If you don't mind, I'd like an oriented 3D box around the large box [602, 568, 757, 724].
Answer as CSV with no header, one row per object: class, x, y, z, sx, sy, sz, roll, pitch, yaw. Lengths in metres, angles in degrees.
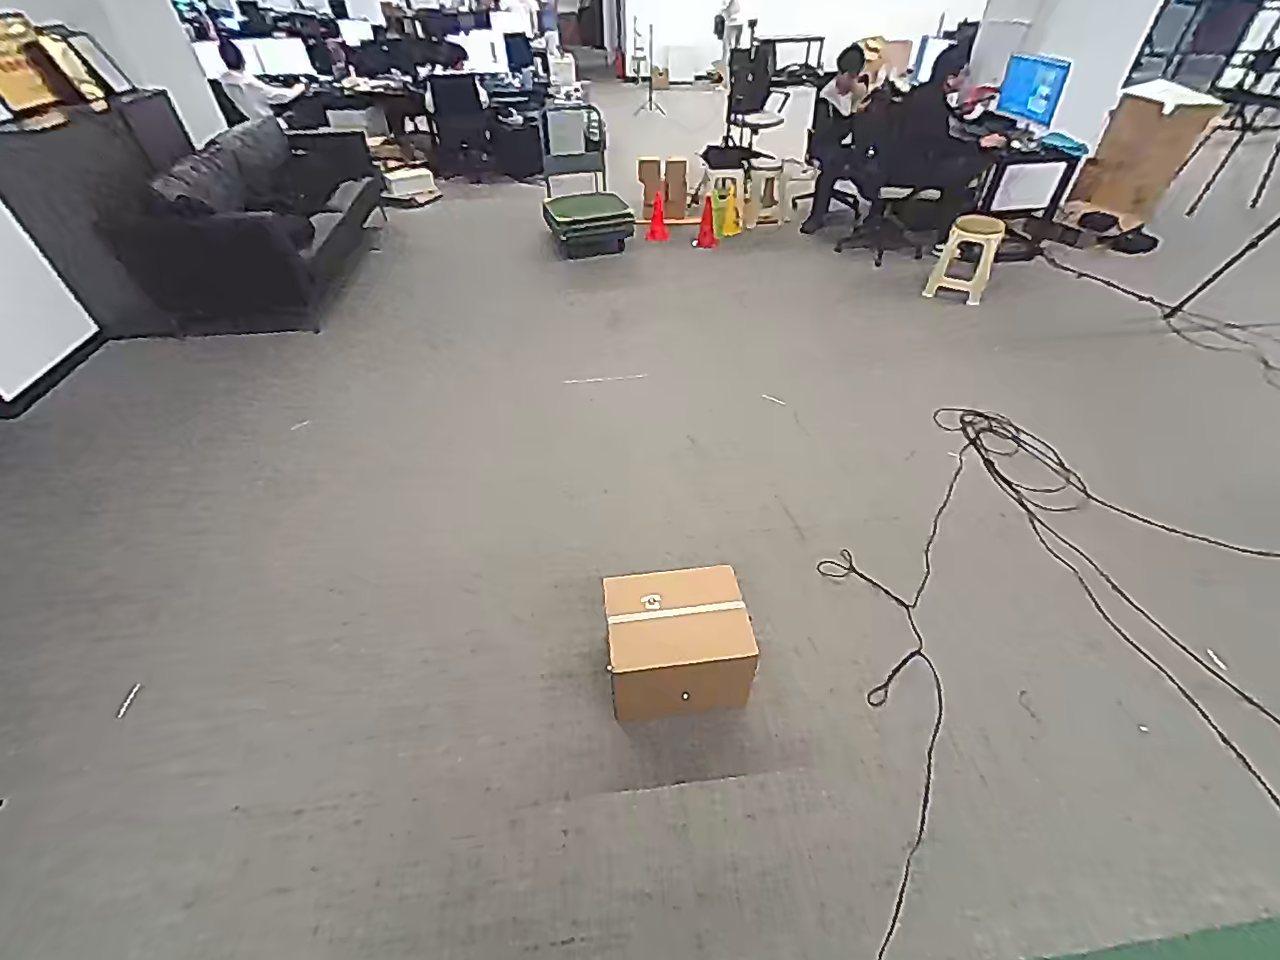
large box,0.109,0.511,1.663,0.408,0.320,0.320,-7,42,-5
